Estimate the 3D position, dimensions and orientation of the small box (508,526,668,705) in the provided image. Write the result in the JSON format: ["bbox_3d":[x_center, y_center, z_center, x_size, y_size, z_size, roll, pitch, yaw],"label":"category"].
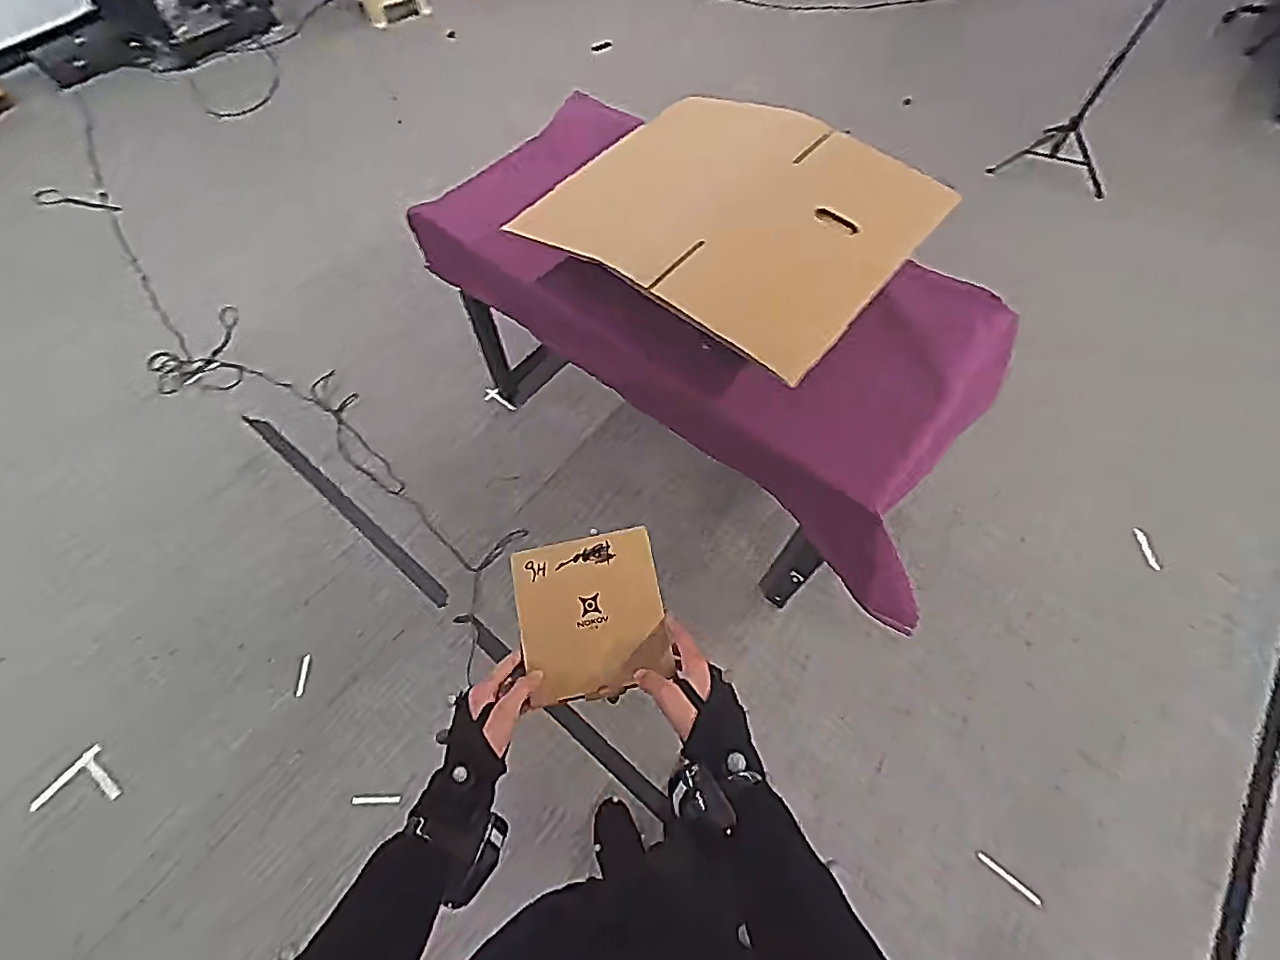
[{"bbox_3d":[-0.059,0.172,0.695,0.168,0.176,0.179,-11,74,-2],"label":"small box"}]
